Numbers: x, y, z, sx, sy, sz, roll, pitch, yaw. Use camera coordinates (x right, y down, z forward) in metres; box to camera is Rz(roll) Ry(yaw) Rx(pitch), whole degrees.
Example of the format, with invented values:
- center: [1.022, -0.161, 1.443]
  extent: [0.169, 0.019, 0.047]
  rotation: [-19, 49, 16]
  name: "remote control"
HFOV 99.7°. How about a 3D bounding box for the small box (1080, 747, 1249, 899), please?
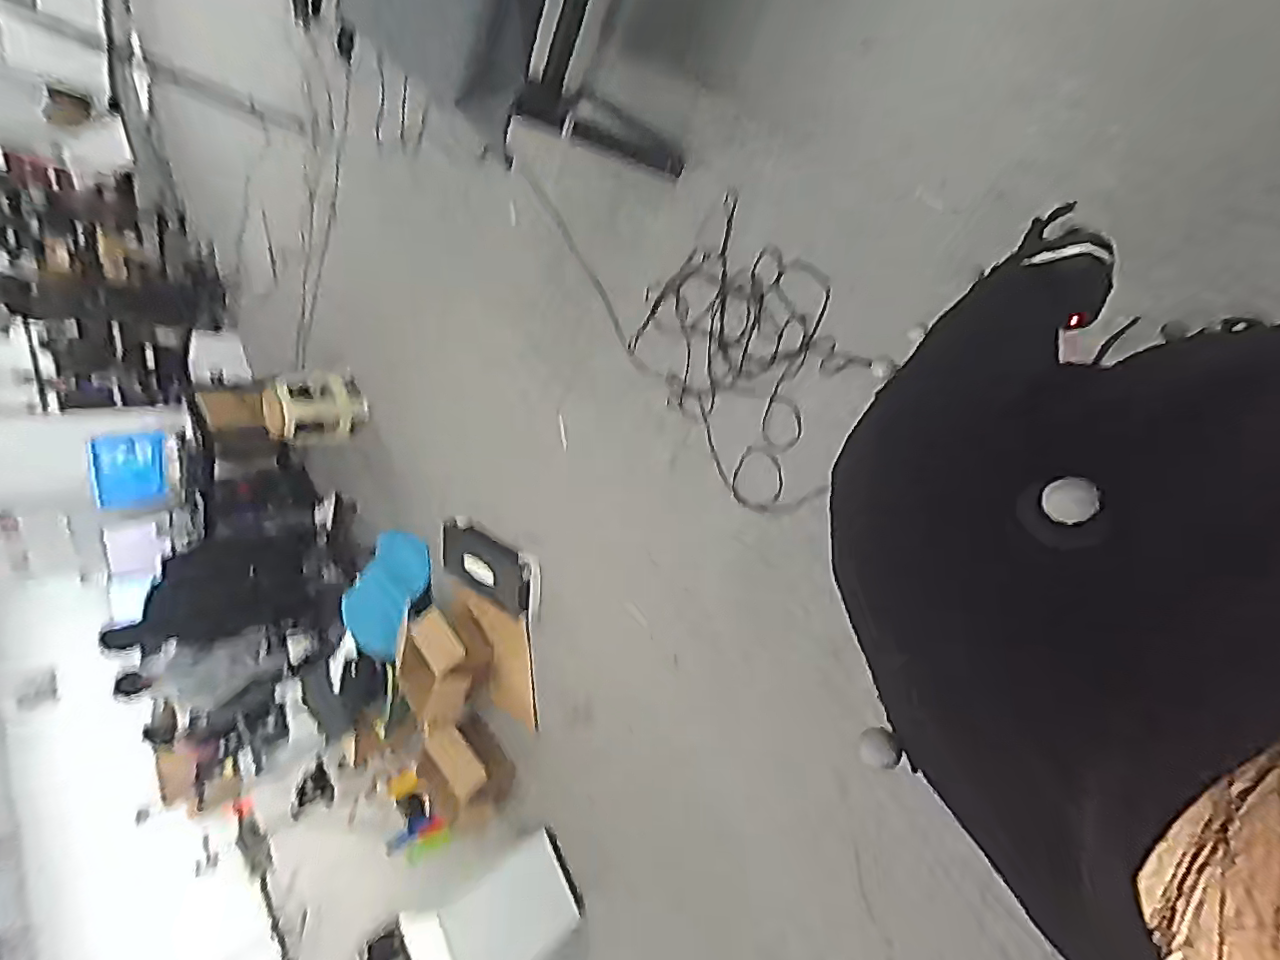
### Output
- center: [0.978, 0.636, 1.017]
  extent: [0.168, 0.176, 0.179]
  rotation: [-36, 74, 41]
  name: "small box"
